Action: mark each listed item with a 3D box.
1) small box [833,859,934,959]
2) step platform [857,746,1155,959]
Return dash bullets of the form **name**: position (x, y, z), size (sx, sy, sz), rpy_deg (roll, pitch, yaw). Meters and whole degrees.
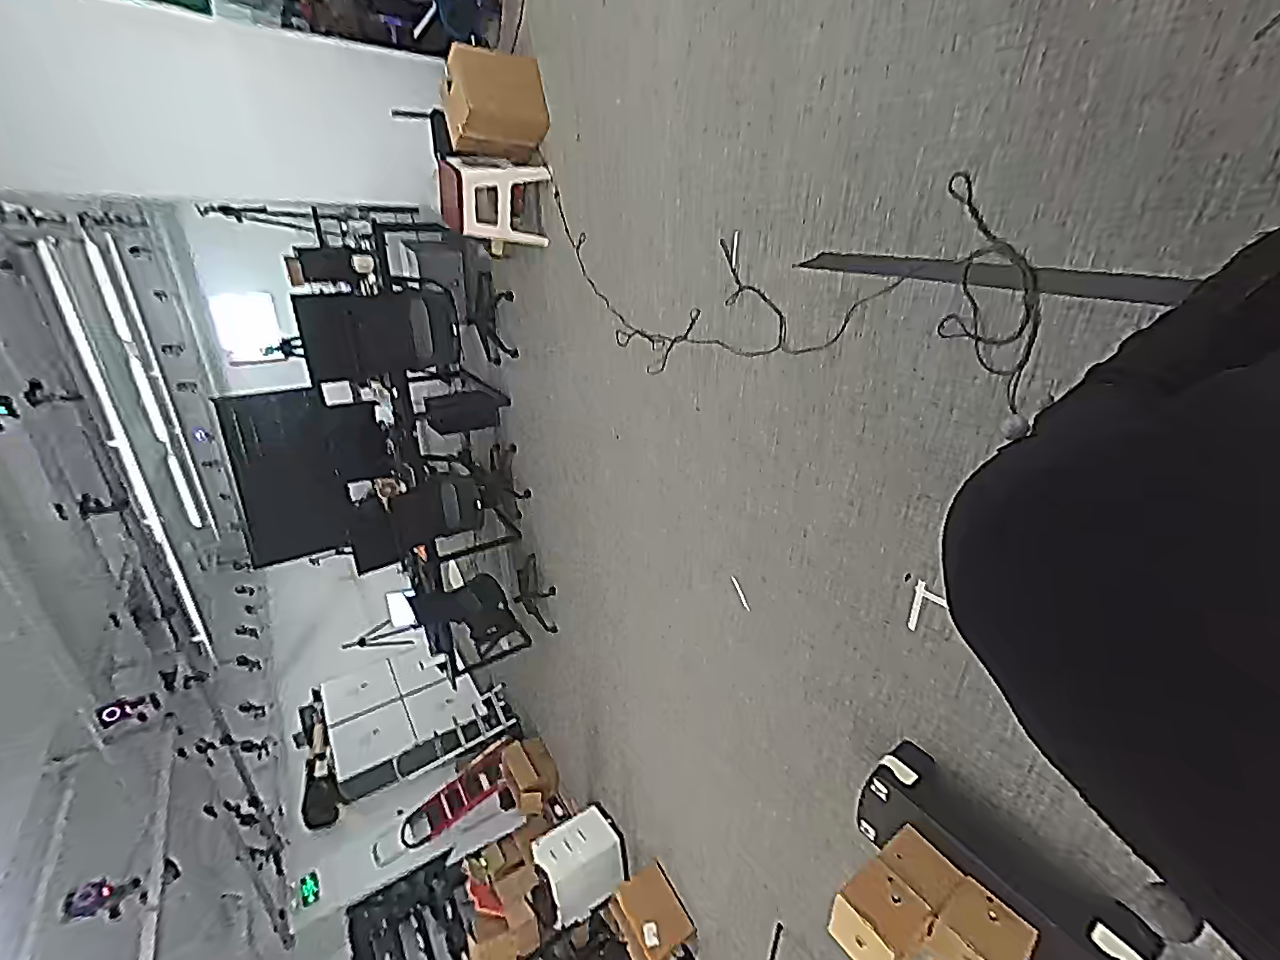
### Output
- **small box**: position (0.632, 1.148, 1.404), size (0.168, 0.176, 0.179), rpy_deg (30, 127, 50)
- **step platform**: position (0.957, 1.113, 1.520), size (0.684, 0.204, 0.286), rpy_deg (31, 129, 48)
